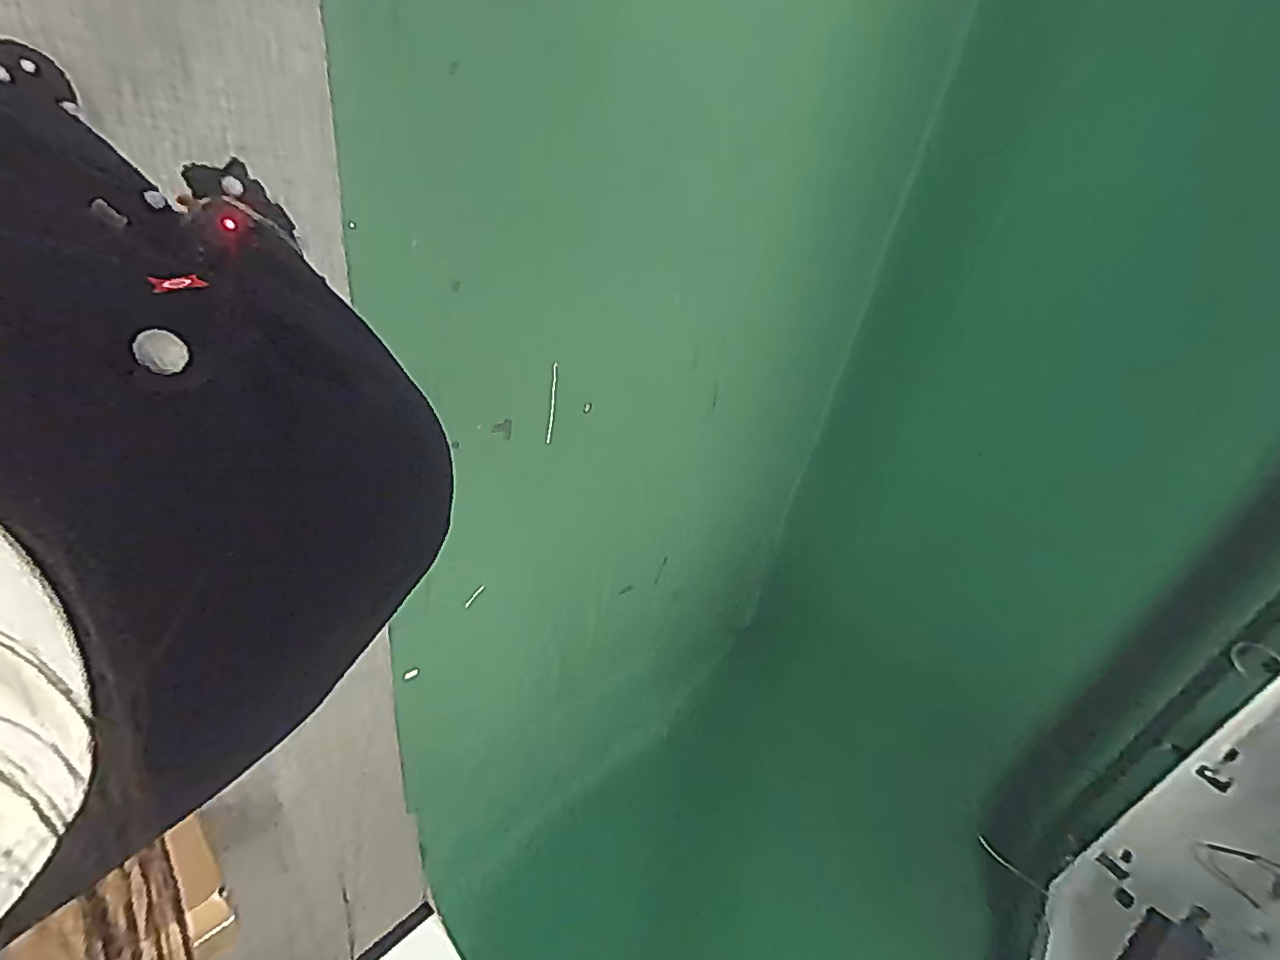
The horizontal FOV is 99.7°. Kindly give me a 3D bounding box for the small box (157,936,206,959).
[{"bbox_3d":[-1.244,1.379,1.423,0.179,0.176,0.168,-15,124,-46],"label":"small box"}]
